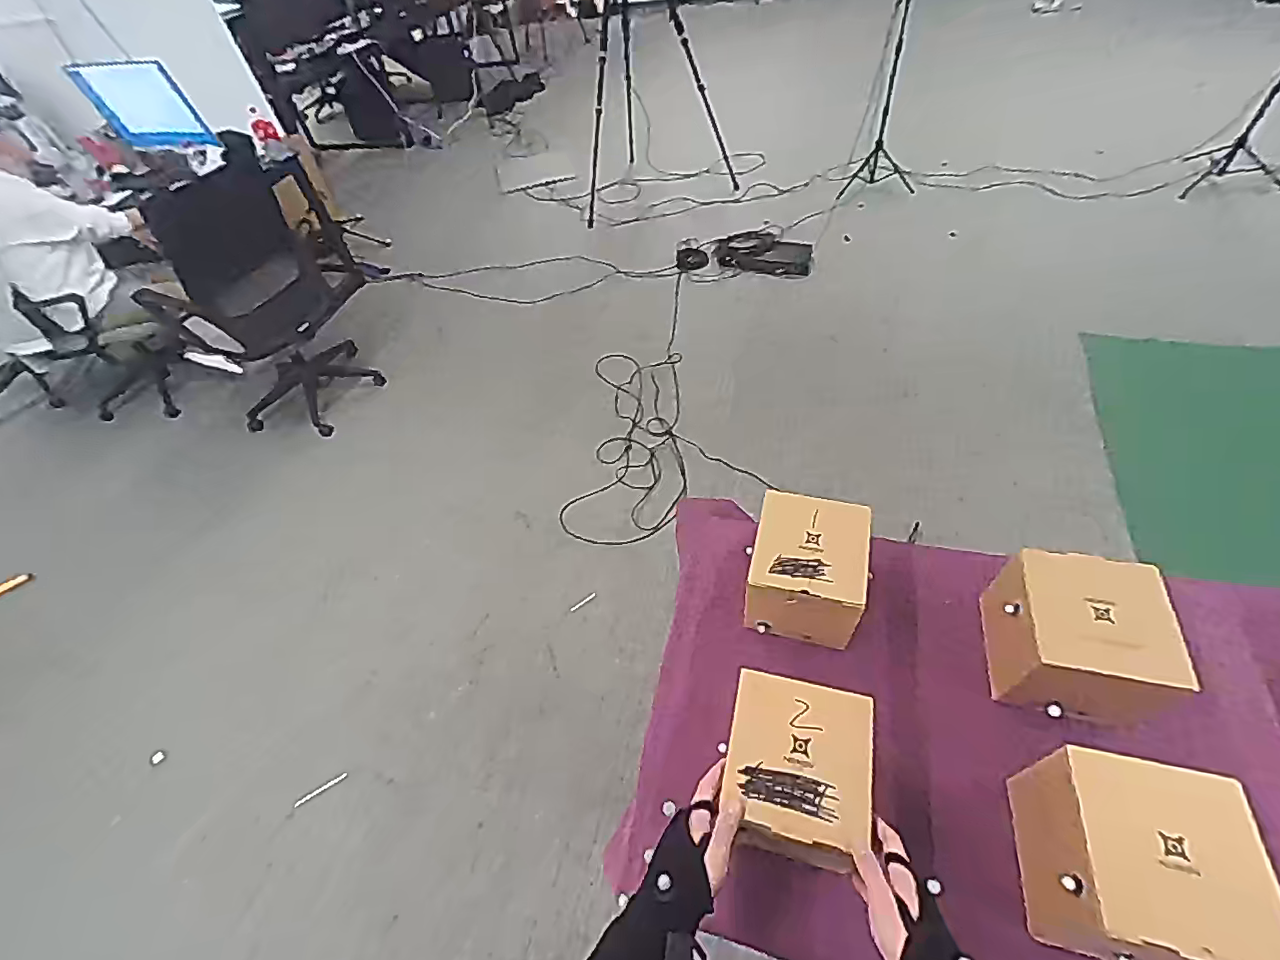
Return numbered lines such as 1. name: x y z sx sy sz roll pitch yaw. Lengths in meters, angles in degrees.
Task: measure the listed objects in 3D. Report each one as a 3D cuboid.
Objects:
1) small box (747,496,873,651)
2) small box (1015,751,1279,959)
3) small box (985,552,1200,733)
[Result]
1. small box: 0.271 0.154 0.877 0.168 0.176 0.179 10 54 16
2. small box: 0.552 0.435 0.603 0.168 0.176 0.179 7 52 14
3. small box: 0.613 0.230 0.766 0.168 0.176 0.179 7 53 16
